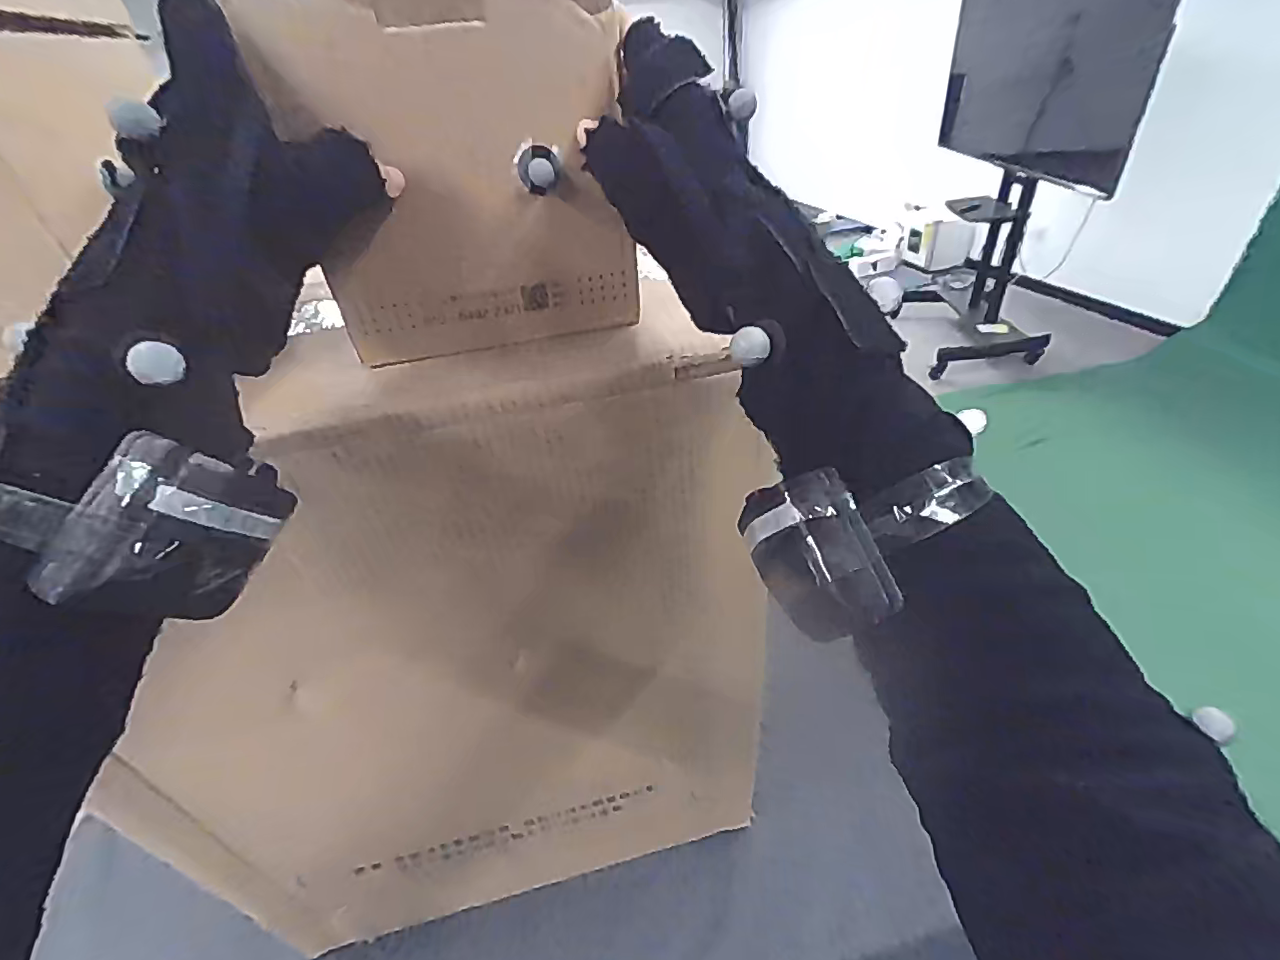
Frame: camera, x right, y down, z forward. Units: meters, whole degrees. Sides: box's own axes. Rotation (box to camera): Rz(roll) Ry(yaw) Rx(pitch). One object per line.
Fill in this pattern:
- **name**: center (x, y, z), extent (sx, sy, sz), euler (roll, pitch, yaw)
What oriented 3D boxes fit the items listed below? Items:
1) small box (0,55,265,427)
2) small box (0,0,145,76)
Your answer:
- **small box**: center (-0.359, -0.139, 0.309), extent (0.168, 0.176, 0.179), euler (-12, 39, -7)
- **small box**: center (-0.369, -0.254, 0.215), extent (0.179, 0.176, 0.168), euler (-12, 37, -7)
